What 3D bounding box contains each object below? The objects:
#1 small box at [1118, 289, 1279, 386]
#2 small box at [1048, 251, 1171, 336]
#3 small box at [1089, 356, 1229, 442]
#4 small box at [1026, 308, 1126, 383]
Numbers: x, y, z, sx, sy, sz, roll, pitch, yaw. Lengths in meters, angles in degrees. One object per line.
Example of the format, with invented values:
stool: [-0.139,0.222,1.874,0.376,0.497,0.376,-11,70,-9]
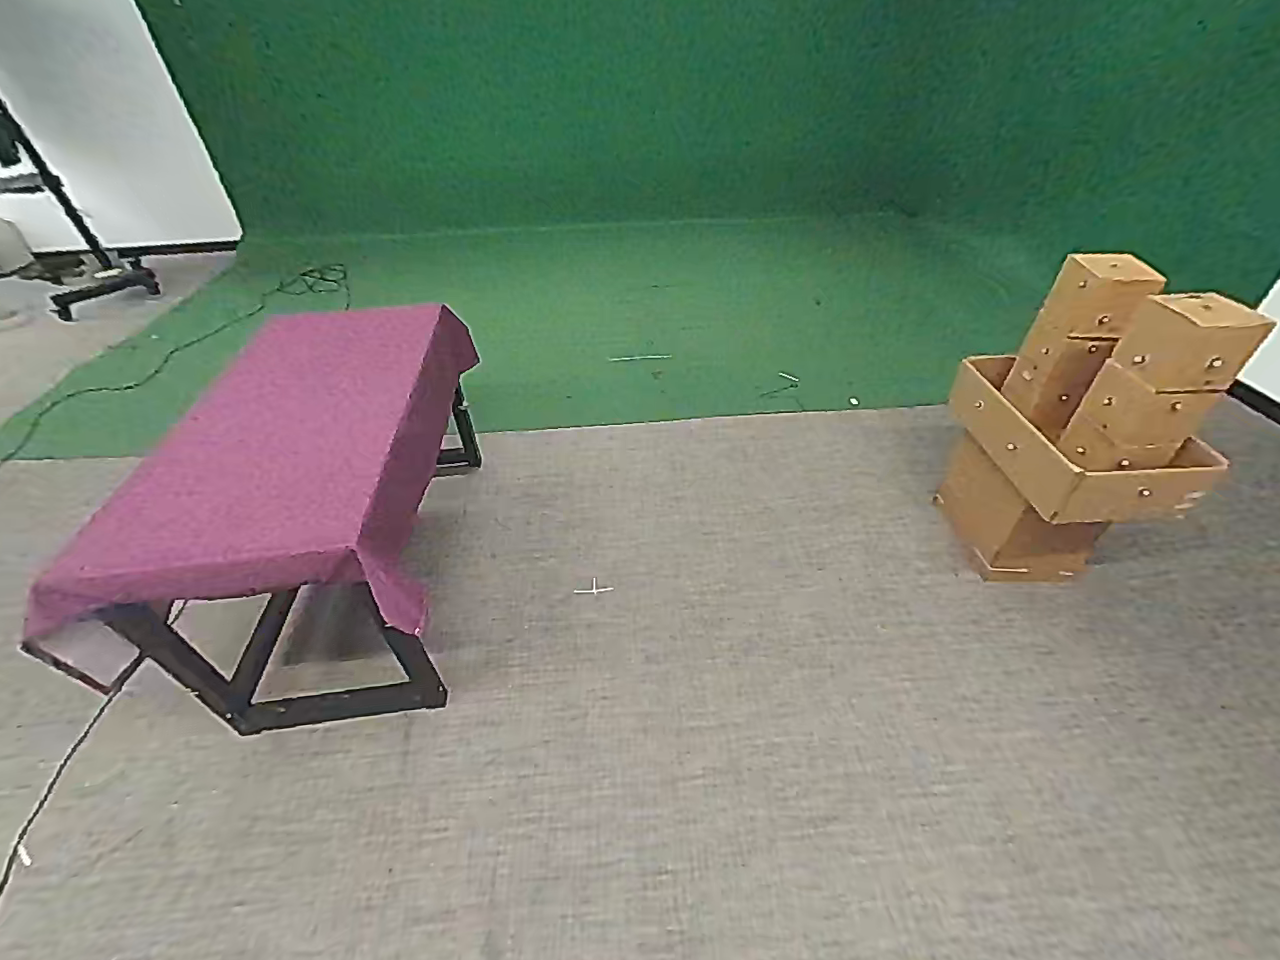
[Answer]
small box: [1.304,-0.332,1.278,0.168,0.176,0.179,-2,41,1]
small box: [1.286,-0.518,1.501,0.168,0.176,0.179,3,44,6]
small box: [1.309,-0.209,1.388,0.179,0.176,0.168,-3,41,0]
small box: [1.296,-0.401,1.612,0.179,0.176,0.168,1,42,3]
